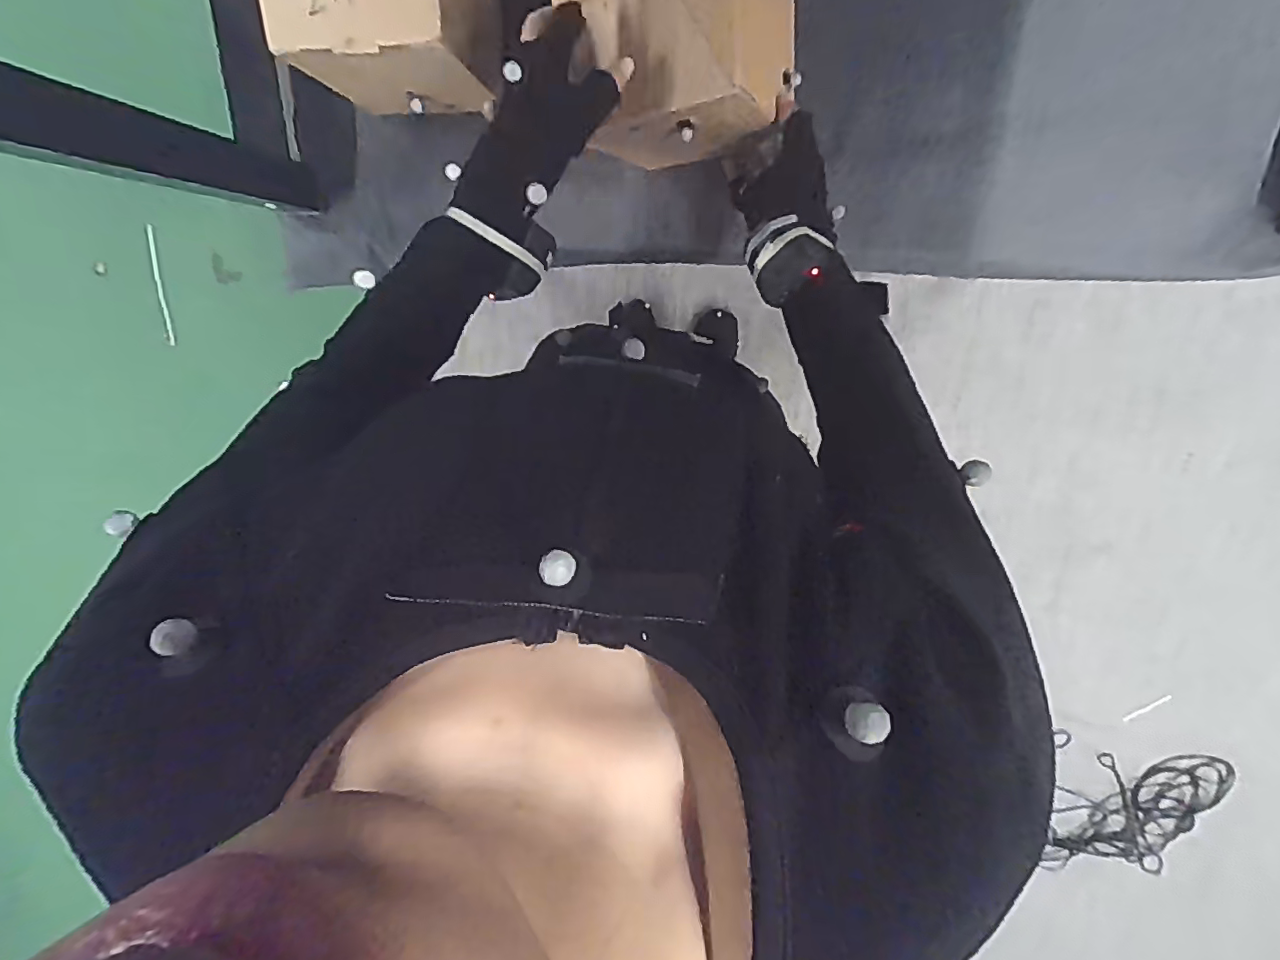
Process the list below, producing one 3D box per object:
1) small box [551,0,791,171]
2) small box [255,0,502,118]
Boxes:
[{"bbox_3d":[0.034,-0.408,0.491,0.168,0.176,0.179,5,109,30],"label":"small box"},{"bbox_3d":[-0.244,-0.483,0.527,0.168,0.176,0.179,2,107,6],"label":"small box"}]
